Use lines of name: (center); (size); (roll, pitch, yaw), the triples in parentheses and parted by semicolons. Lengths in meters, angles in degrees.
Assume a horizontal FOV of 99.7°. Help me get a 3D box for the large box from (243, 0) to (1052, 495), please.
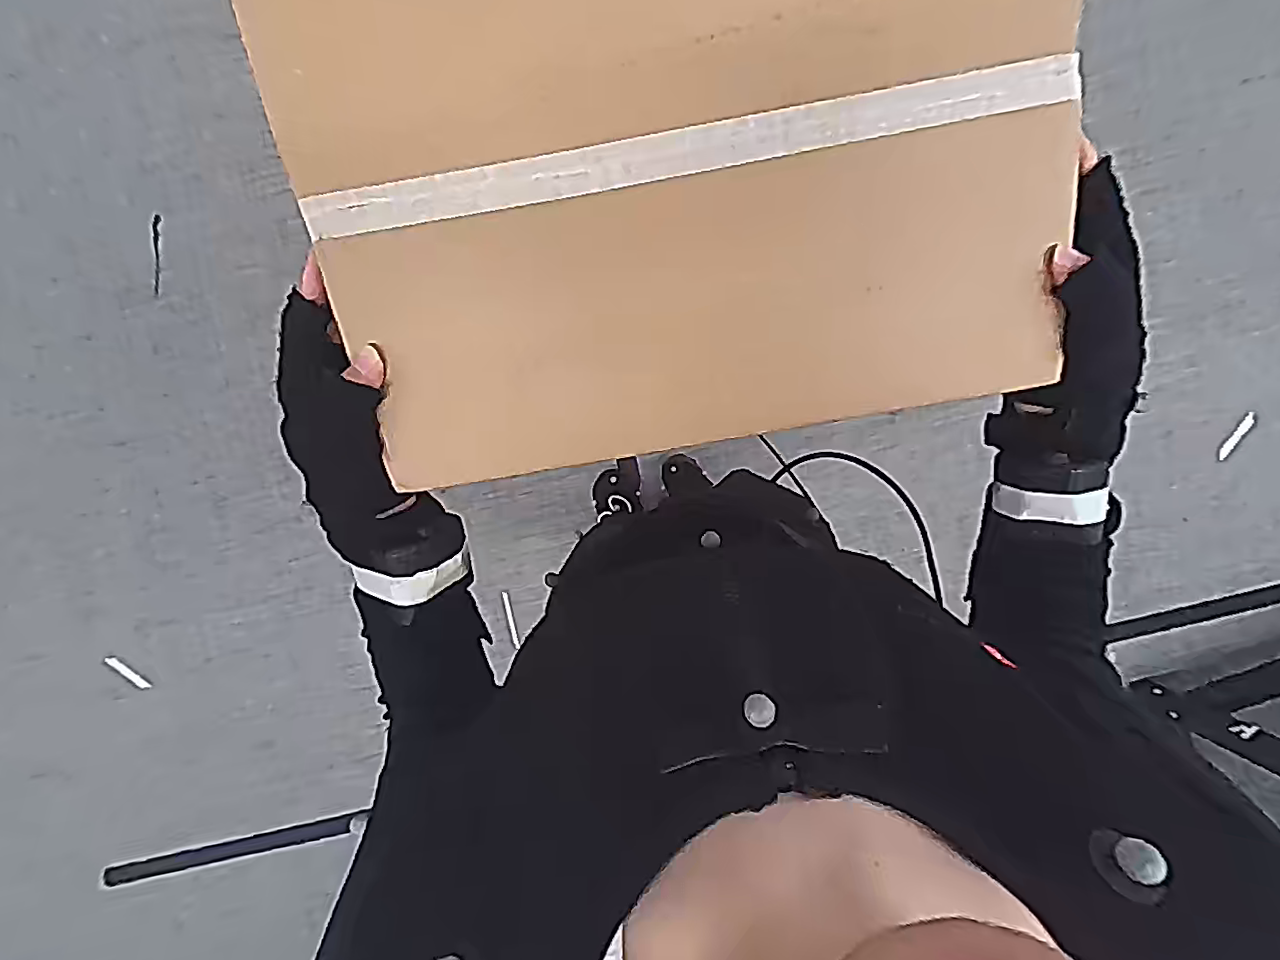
large box: (0.017, -0.213, 0.434); (0.408, 0.320, 0.320); (-10, 107, 1)
